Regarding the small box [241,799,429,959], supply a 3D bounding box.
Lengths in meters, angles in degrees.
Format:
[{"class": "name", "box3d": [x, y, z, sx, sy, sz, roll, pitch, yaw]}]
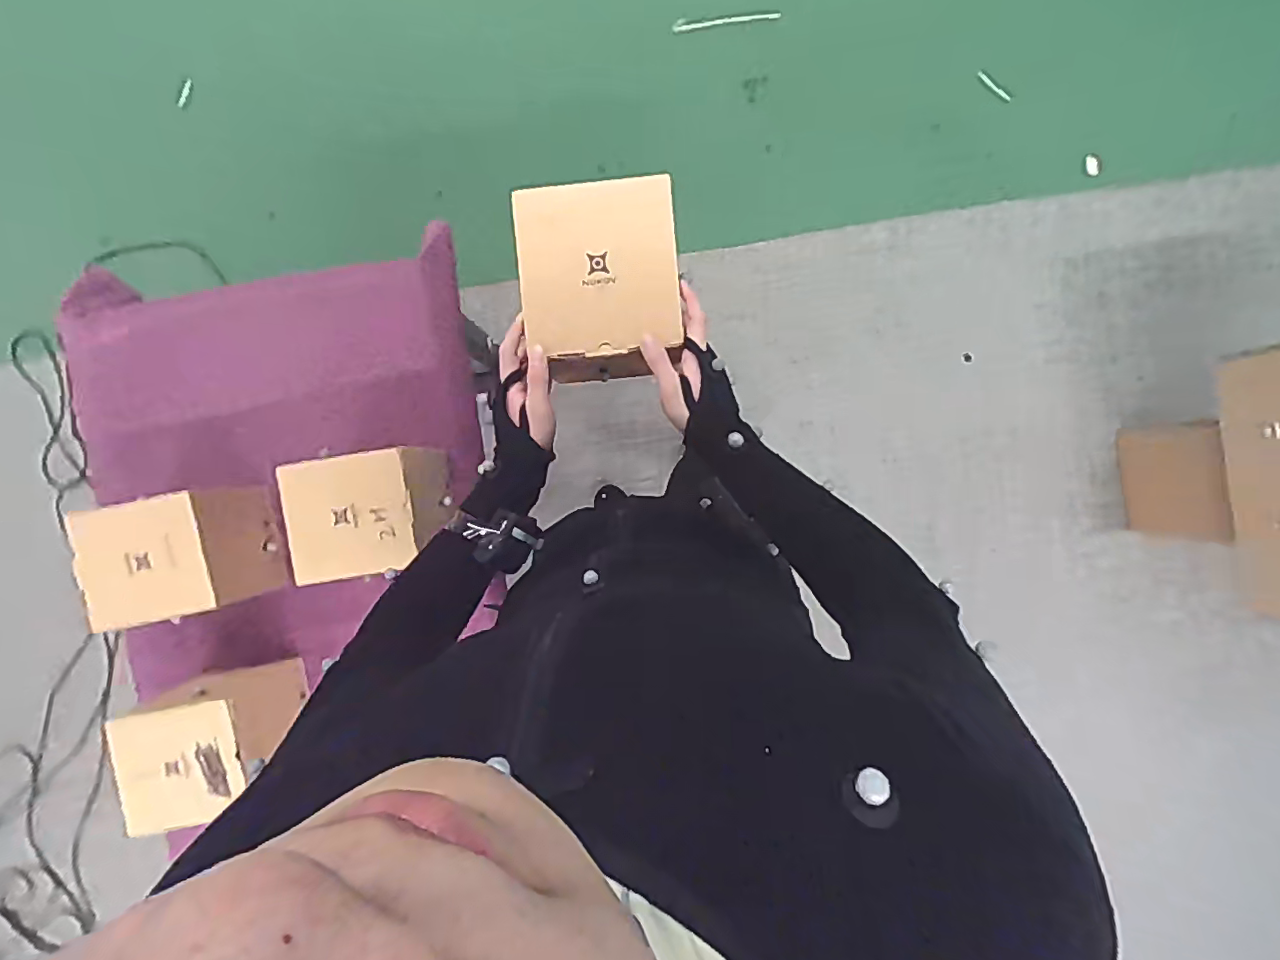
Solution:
[{"class": "small box", "box3d": [-0.449, 0.623, 0.821, 0.179, 0.176, 0.168, -10, 93, 0]}]

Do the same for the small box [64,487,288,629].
[{"class": "small box", "box3d": [-0.678, 0.107, 0.811, 0.179, 0.176, 0.168, -12, 92, -1]}]

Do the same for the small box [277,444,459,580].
[{"class": "small box", "box3d": [-0.394, 0.043, 0.809, 0.179, 0.176, 0.168, -9, 92, 0]}]

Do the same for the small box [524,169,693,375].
[{"class": "small box", "box3d": [-0.032, -0.227, 0.631, 0.168, 0.176, 0.179, -5, 94, 1]}]

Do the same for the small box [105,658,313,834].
[{"class": "small box", "box3d": [-0.627, 0.386, 0.816, 0.179, 0.176, 0.168, -11, 91, 0]}]
